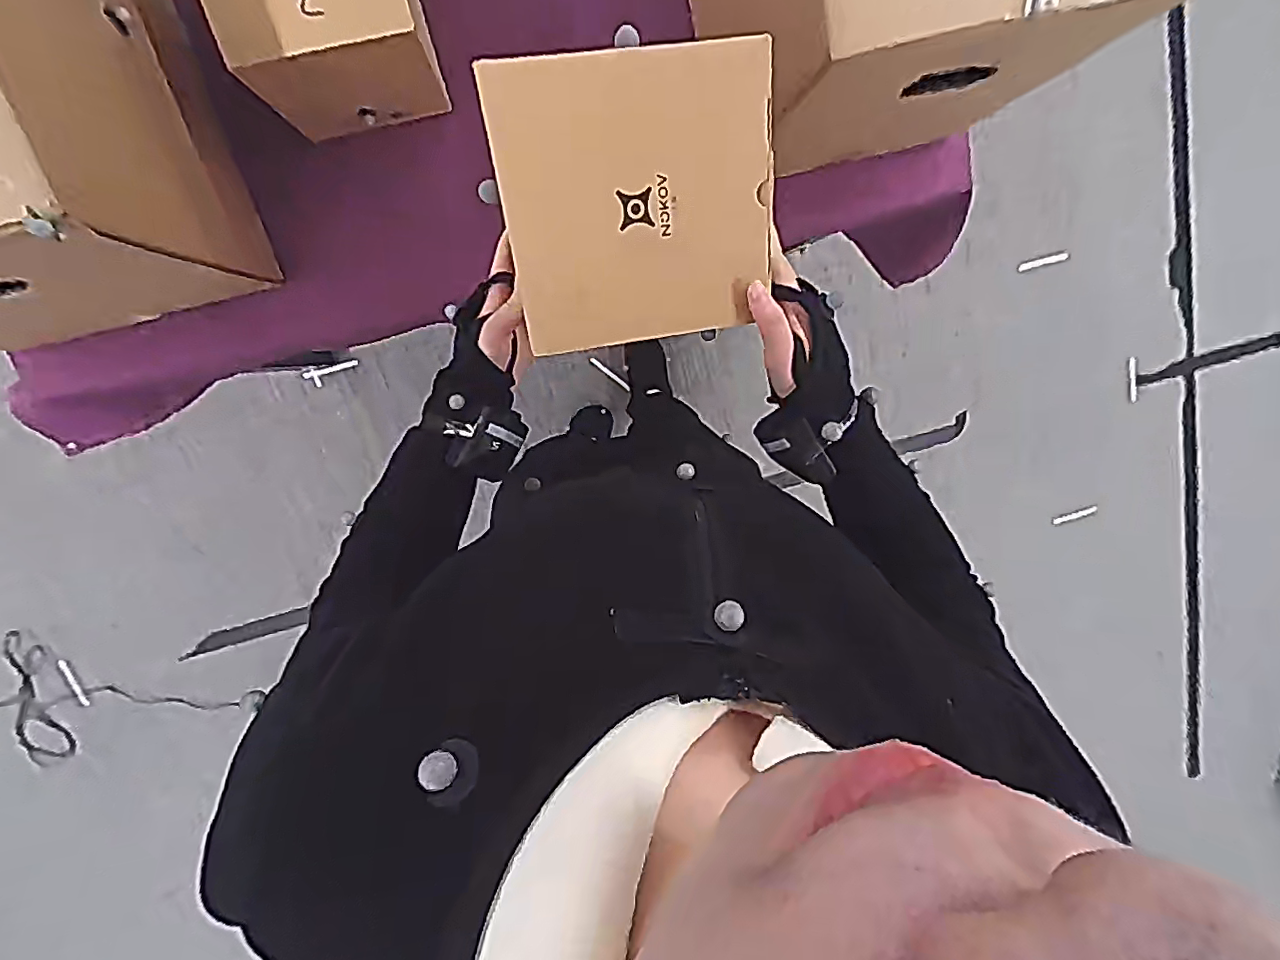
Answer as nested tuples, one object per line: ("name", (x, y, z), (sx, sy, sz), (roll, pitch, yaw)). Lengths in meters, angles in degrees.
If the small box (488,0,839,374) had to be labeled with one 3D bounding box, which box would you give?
("small box", (0.011, -0.190, 0.382), (0.168, 0.176, 0.179), (-21, 101, -24))
